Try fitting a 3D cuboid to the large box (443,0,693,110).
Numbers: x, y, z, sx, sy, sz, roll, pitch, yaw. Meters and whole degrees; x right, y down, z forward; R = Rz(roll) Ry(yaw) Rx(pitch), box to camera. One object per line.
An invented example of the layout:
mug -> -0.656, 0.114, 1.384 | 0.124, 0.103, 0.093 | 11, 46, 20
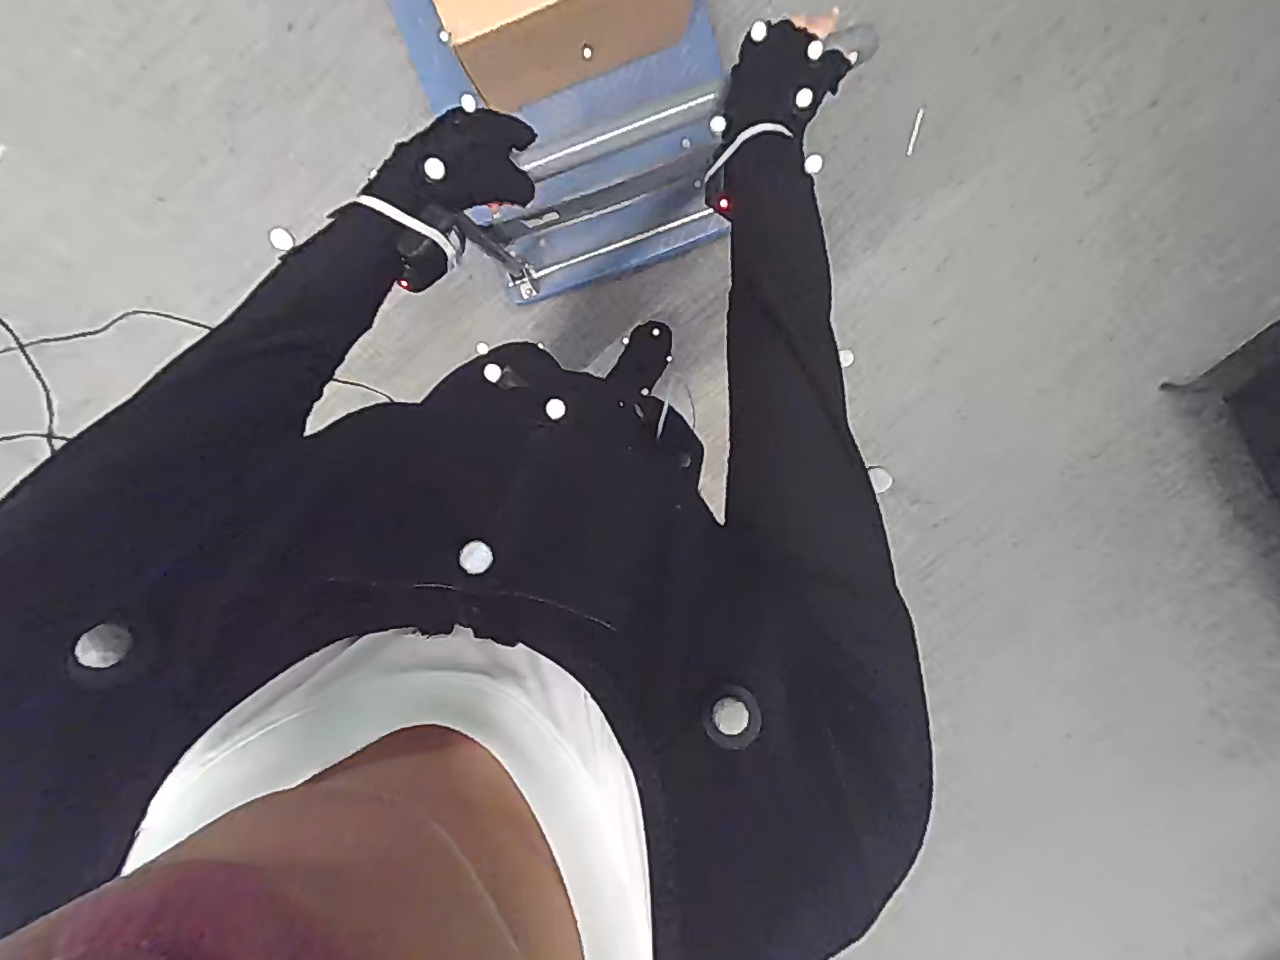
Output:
large box -> -0.140, -0.898, 0.890 | 0.408, 0.320, 0.320 | -20, 107, 4
